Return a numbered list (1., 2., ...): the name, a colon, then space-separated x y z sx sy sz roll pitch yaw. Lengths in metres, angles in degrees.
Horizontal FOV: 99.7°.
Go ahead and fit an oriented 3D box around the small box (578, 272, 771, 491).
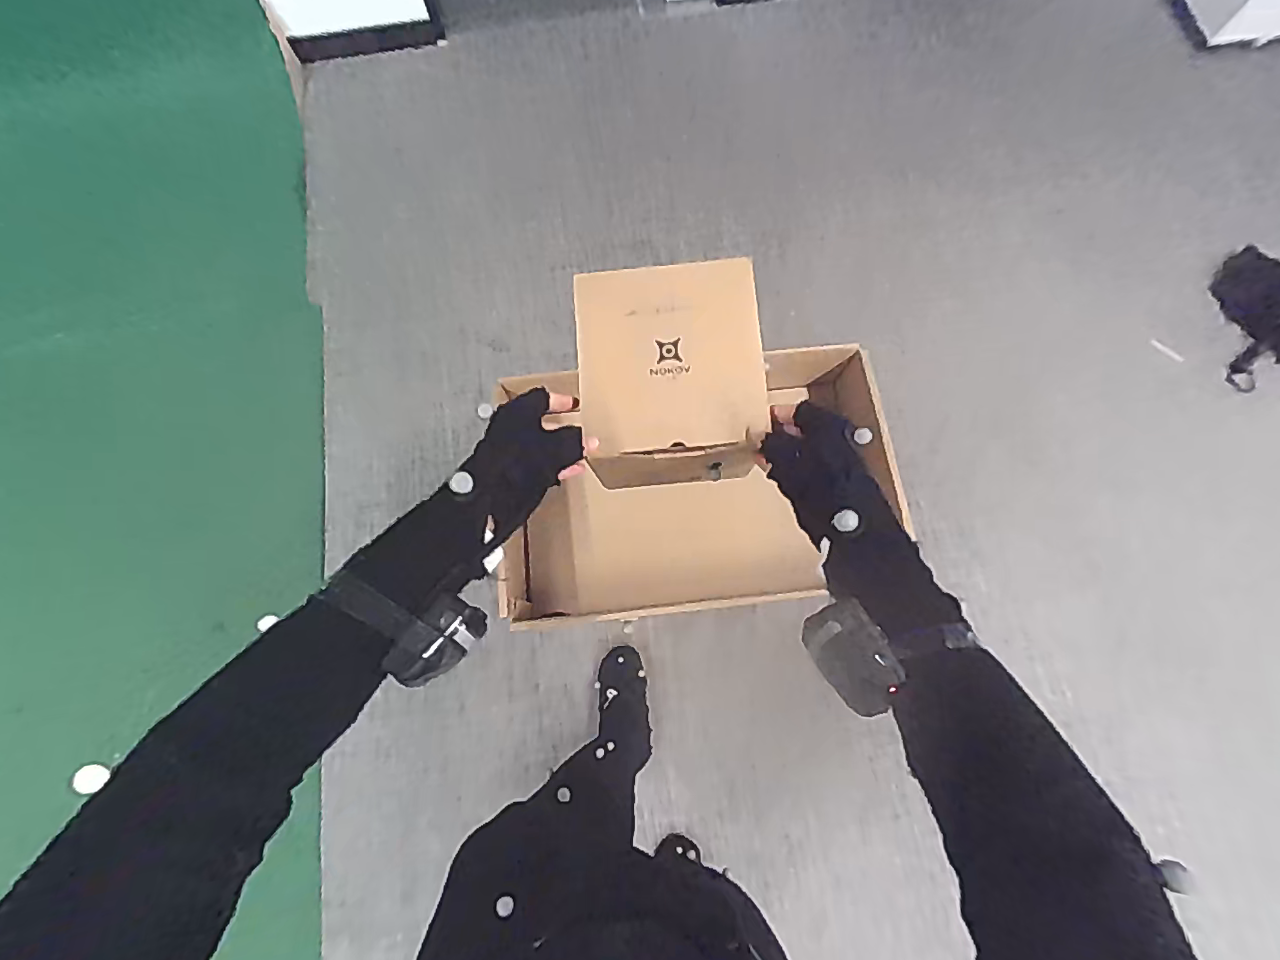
1. small box: 0.032 -0.087 0.566 0.168 0.176 0.179 -5 78 1
